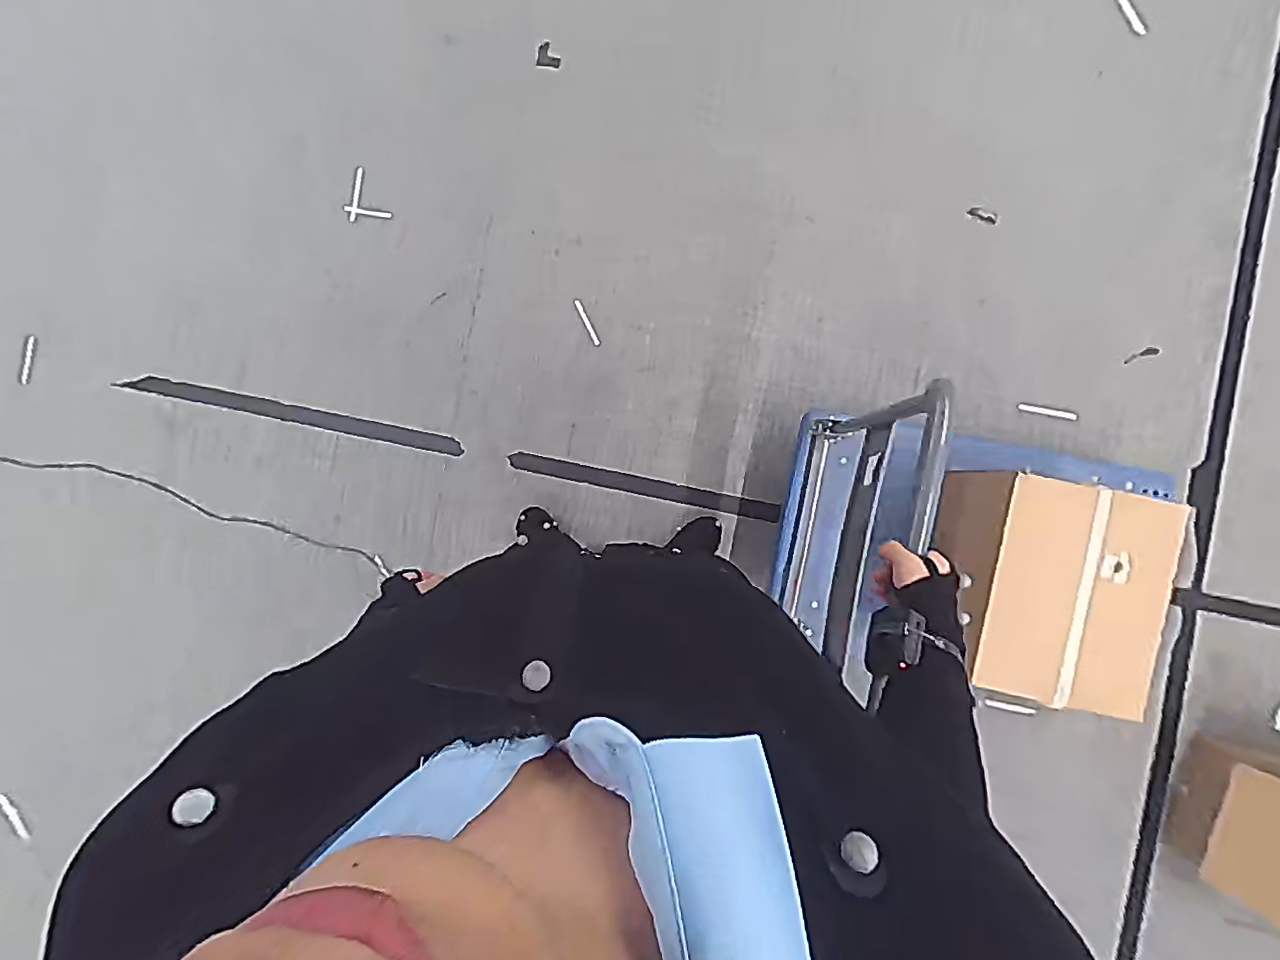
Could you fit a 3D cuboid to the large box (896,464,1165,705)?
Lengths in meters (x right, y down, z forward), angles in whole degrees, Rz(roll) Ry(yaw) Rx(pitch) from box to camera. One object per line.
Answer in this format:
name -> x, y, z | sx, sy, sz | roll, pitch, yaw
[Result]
large box -> 0.790, 0.197, 1.149 | 0.320, 0.320, 0.408 | 12, 89, 1
